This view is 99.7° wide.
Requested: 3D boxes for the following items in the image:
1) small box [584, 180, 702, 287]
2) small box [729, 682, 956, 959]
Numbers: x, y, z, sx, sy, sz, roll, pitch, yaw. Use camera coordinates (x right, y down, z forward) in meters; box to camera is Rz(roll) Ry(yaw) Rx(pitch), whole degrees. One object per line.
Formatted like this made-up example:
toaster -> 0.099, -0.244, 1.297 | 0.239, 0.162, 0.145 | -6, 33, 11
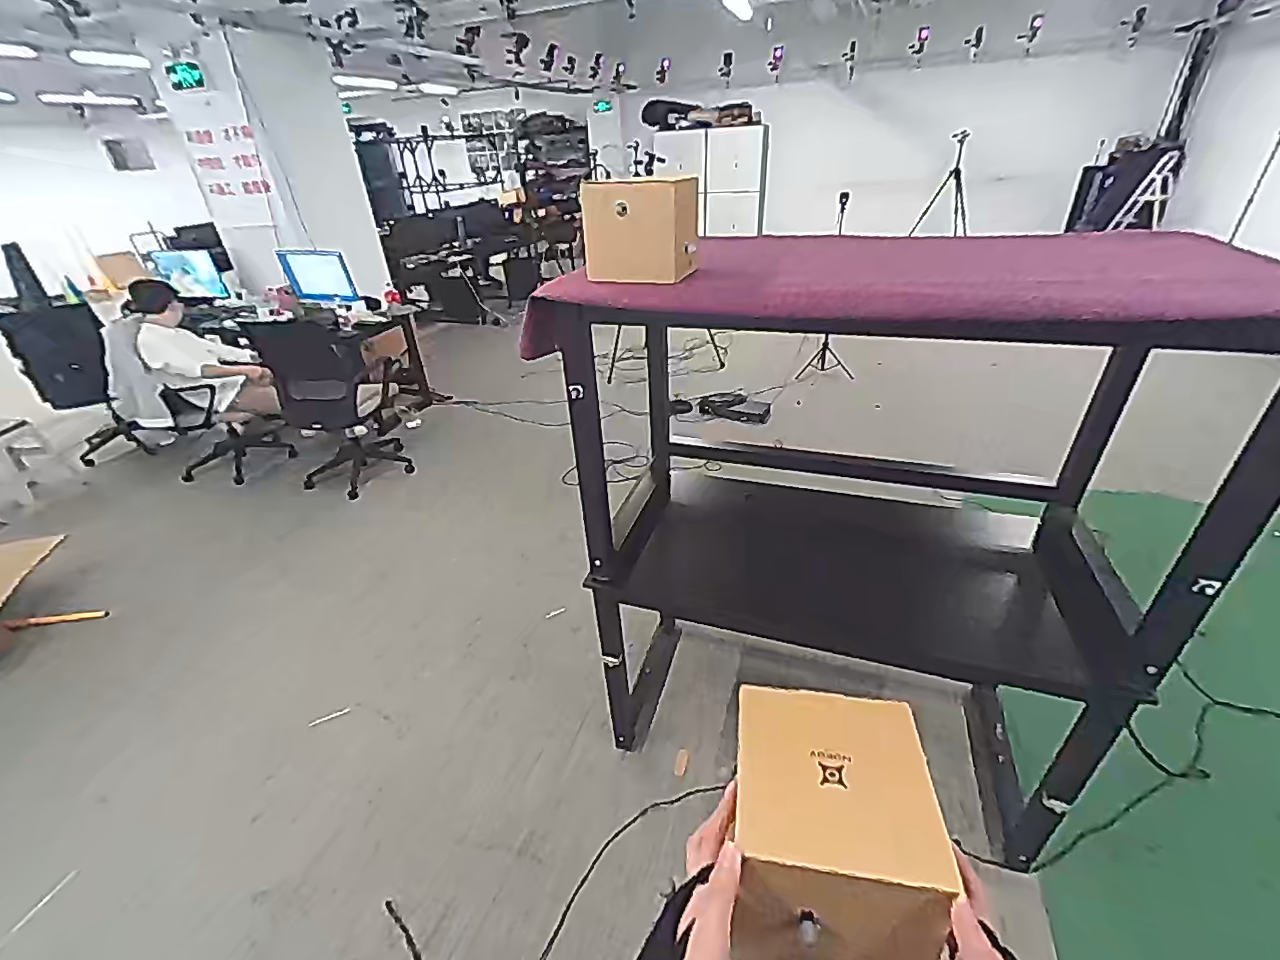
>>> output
small box -> 0.011, -0.467, 1.022 | 0.179, 0.176, 0.168 | 9, 33, 18
small box -> 0.173, 0.325, 0.511 | 0.168, 0.176, 0.179 | 2, 26, 12
